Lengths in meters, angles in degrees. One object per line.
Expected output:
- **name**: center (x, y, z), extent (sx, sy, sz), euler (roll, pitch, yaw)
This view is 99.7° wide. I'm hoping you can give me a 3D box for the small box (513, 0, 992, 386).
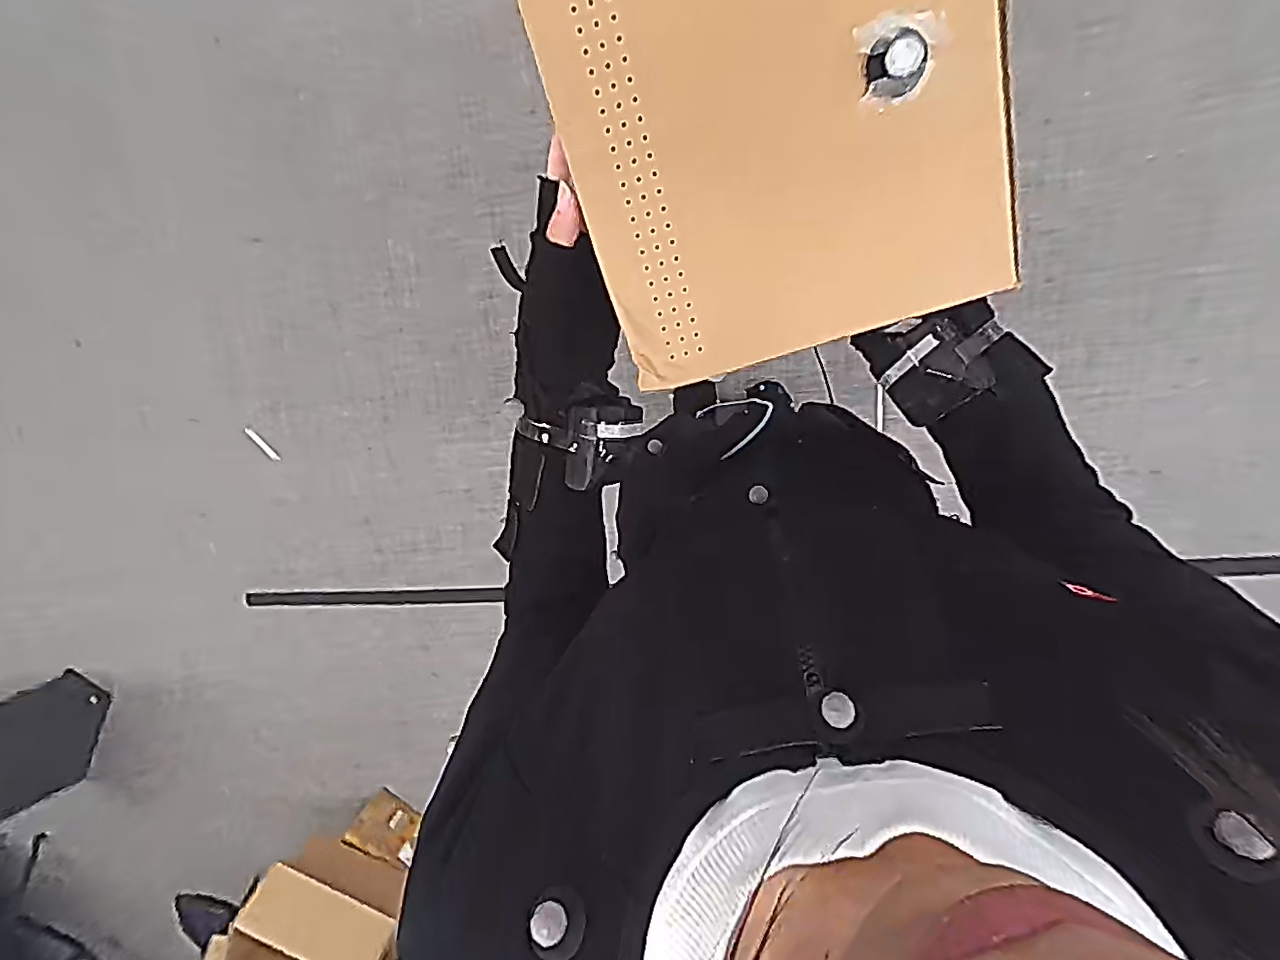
- **small box**: center (0.050, -0.169, 0.290), extent (0.176, 0.168, 0.179), euler (-15, 111, 8)
